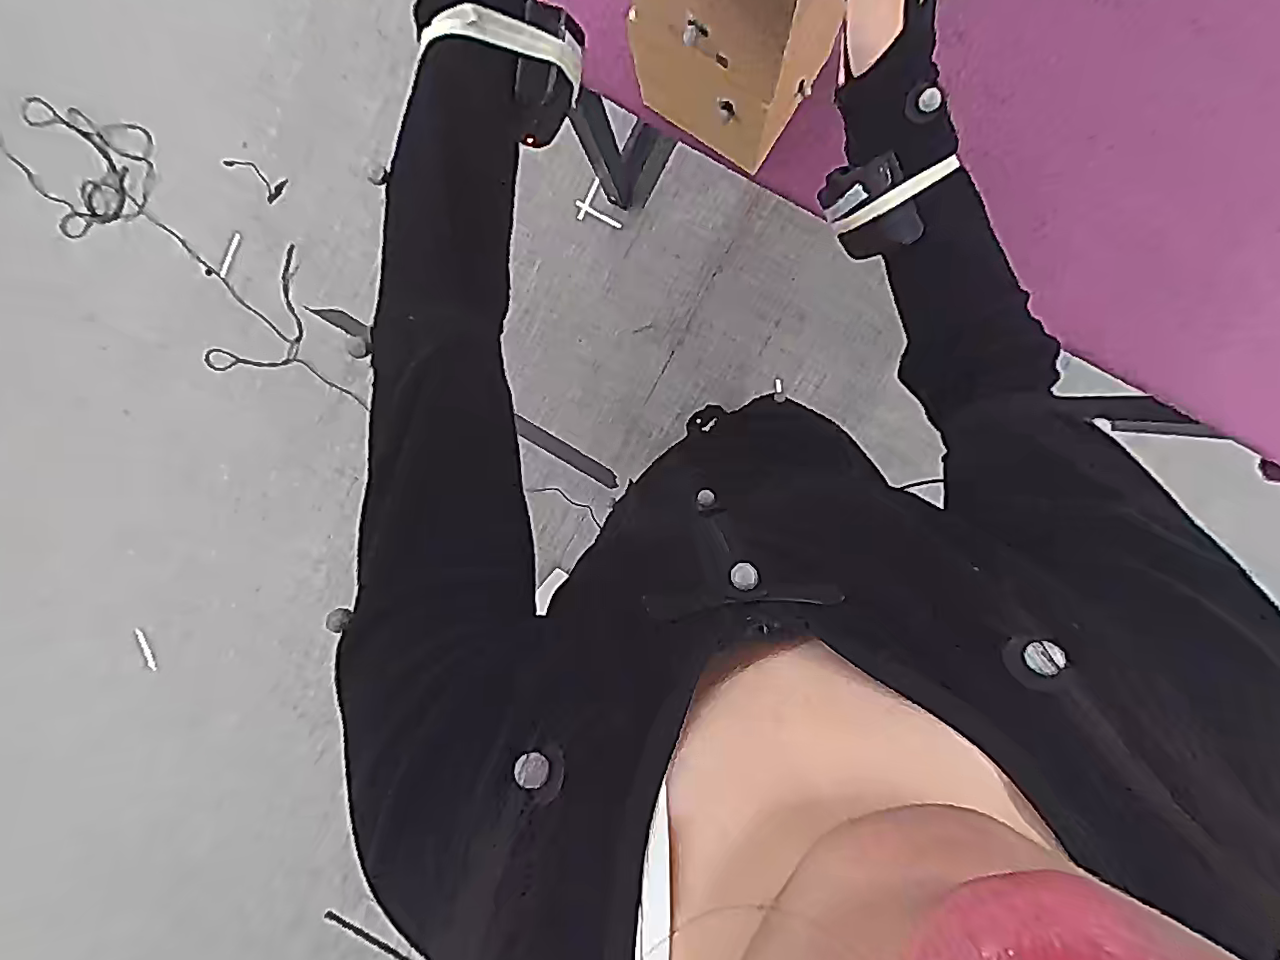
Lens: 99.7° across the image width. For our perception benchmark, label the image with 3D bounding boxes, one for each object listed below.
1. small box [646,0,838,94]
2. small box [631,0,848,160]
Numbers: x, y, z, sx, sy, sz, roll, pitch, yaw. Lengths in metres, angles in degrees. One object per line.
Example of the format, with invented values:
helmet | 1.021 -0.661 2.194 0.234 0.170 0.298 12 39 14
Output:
small box | 0.102 -0.478 0.442 0.168 0.176 0.179 33 102 1
small box | 0.114 -0.497 0.605 0.179 0.176 0.168 34 101 1
